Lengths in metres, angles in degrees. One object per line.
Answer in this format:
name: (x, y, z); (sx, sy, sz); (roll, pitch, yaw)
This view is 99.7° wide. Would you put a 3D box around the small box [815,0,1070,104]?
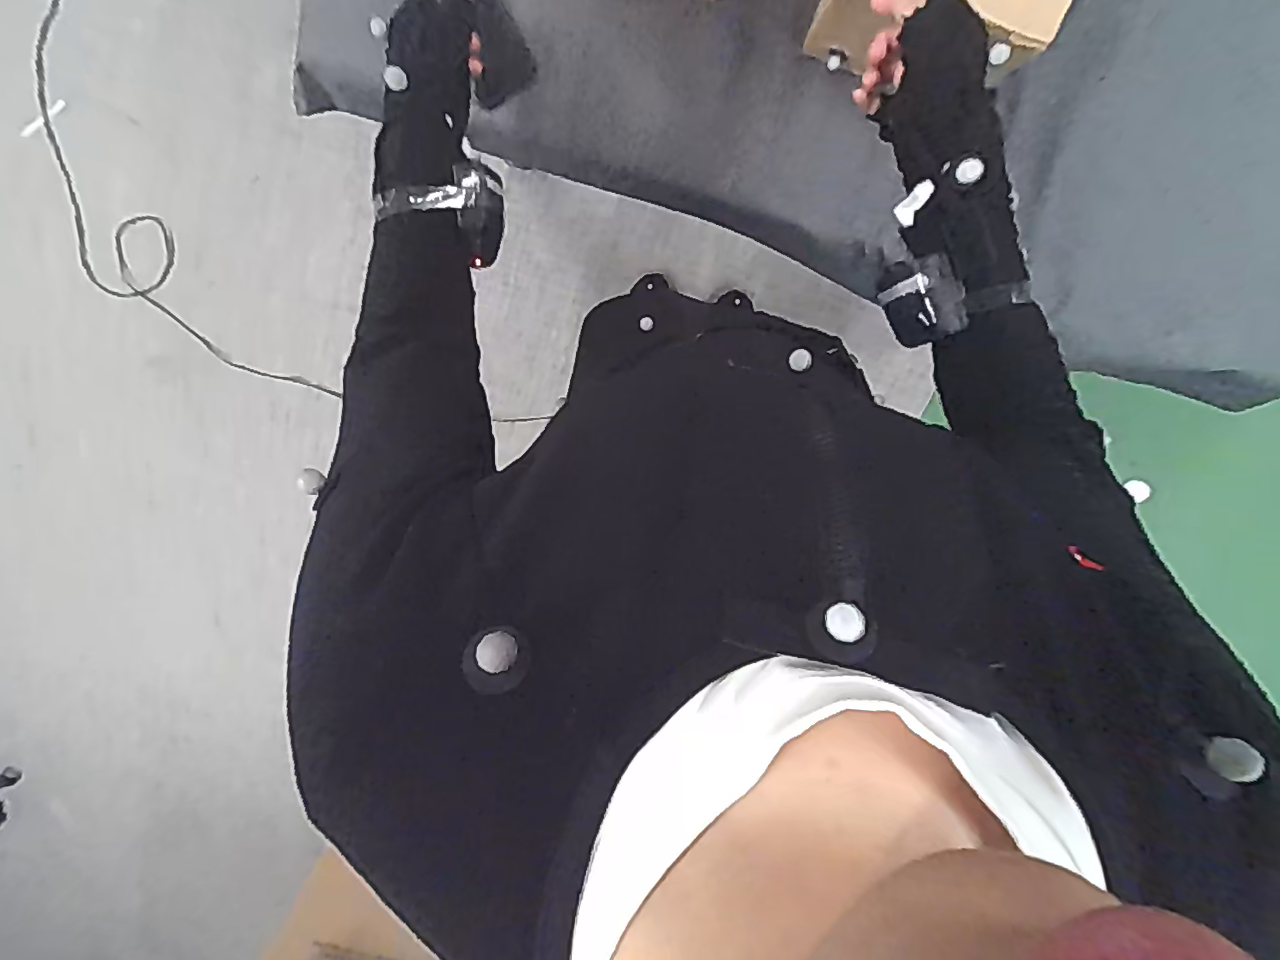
small box: (0.267, -0.459, 0.456); (0.168, 0.176, 0.179); (19, 110, -5)
